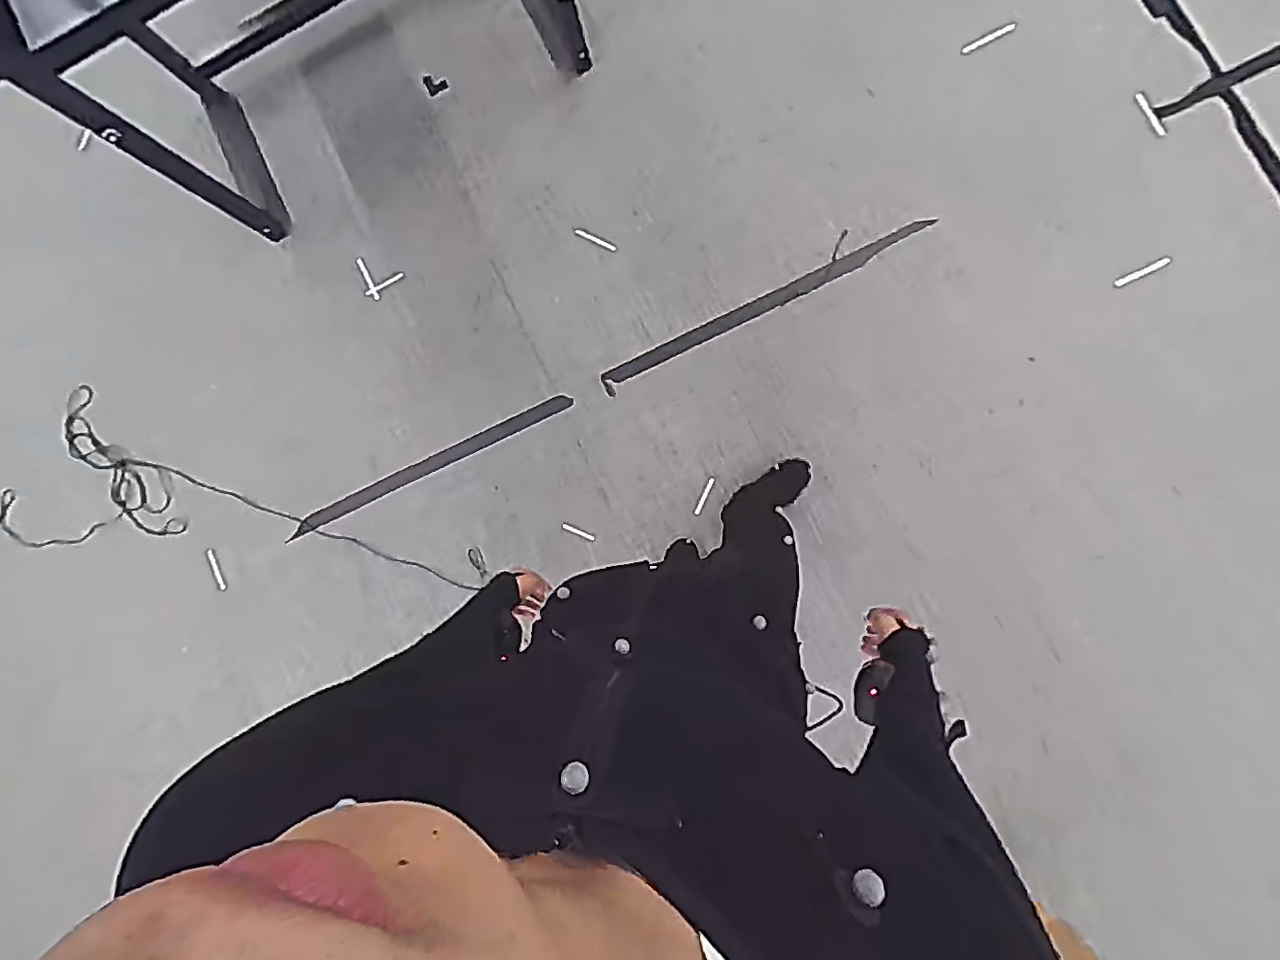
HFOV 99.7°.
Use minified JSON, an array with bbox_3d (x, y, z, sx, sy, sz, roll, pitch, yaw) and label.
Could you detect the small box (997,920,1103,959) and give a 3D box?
[{"bbox_3d":[0.847,1.025,1.062,0.168,0.176,0.179,-14,87,4],"label":"small box"}]
